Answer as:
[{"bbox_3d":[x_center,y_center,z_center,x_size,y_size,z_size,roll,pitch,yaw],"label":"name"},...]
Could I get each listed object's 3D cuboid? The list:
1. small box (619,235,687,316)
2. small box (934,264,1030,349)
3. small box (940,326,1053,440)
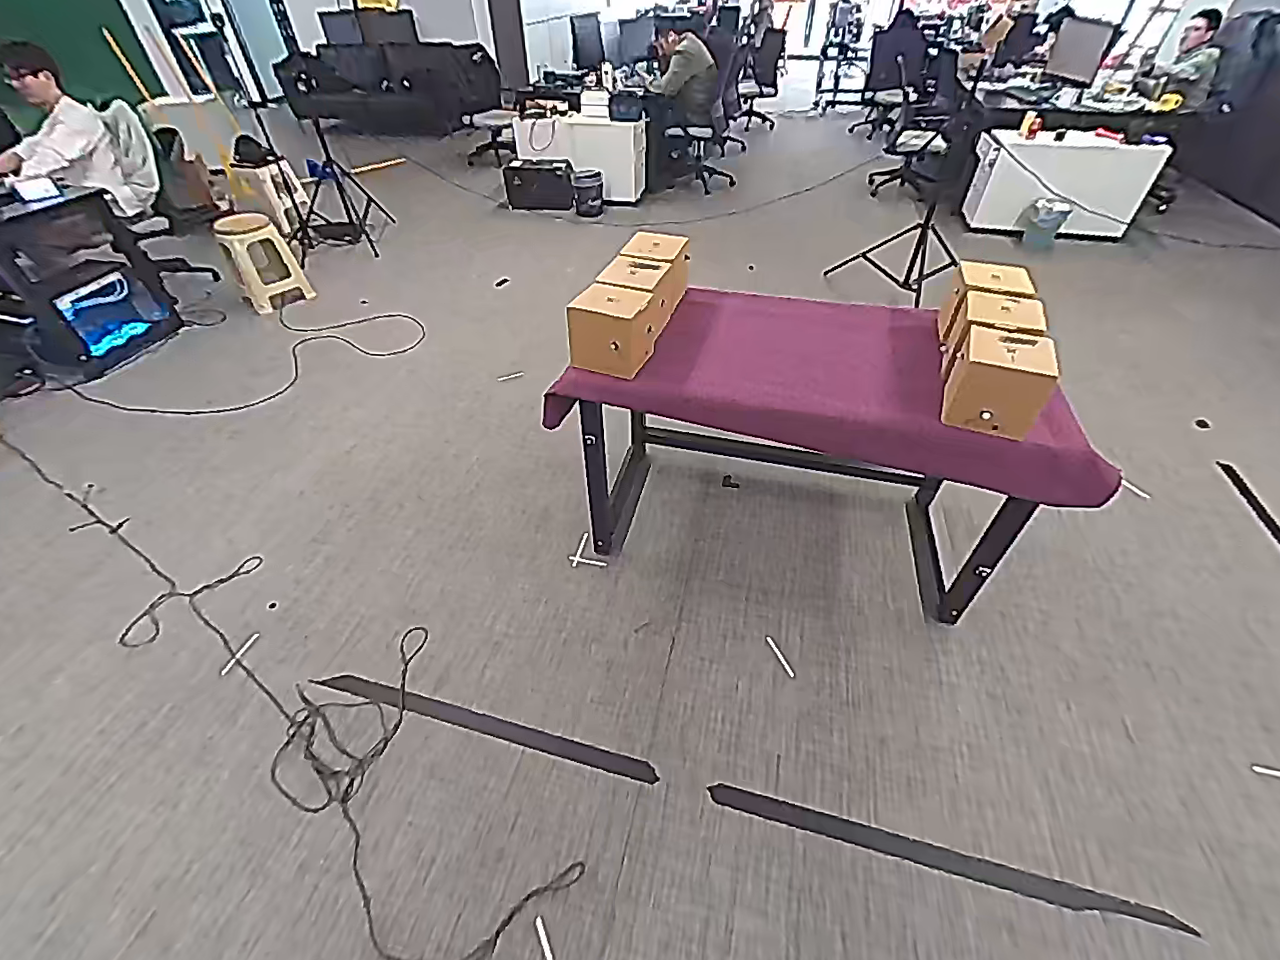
[{"bbox_3d":[0.040,-0.629,1.659,0.168,0.176,0.179,13,46,14],"label":"small box"},{"bbox_3d":[0.928,-0.470,1.485,0.168,0.176,0.179,13,45,13],"label":"small box"},{"bbox_3d":[0.799,-0.219,1.222,0.168,0.176,0.179,17,50,22],"label":"small box"}]
